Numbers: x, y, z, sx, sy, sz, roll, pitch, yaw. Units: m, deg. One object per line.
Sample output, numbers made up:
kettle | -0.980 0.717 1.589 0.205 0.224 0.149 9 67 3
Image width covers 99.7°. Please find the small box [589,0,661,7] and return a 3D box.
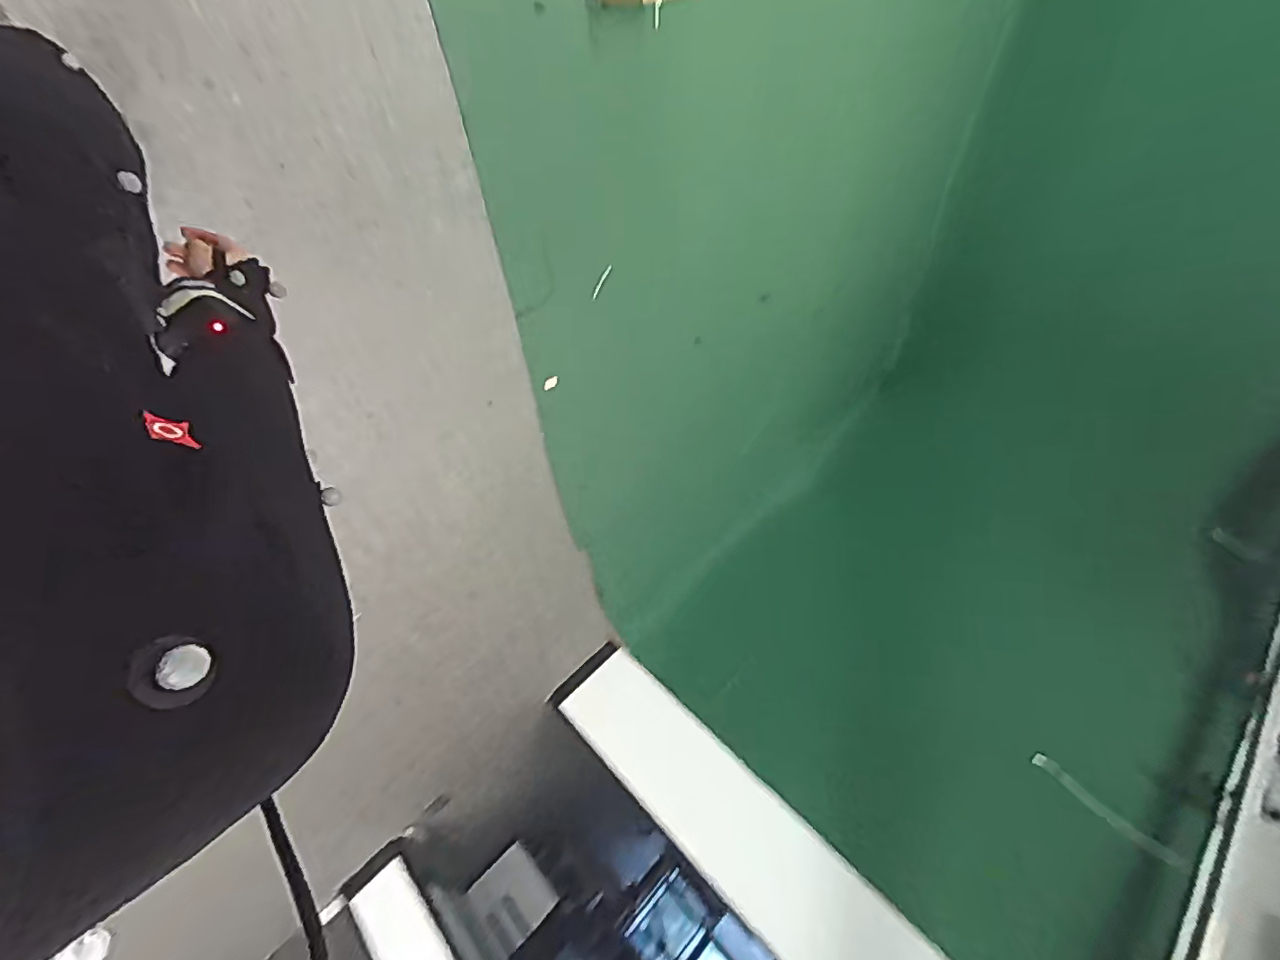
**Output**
small box | -0.016 -1.234 1.268 0.179 0.176 0.168 -37 143 -26
